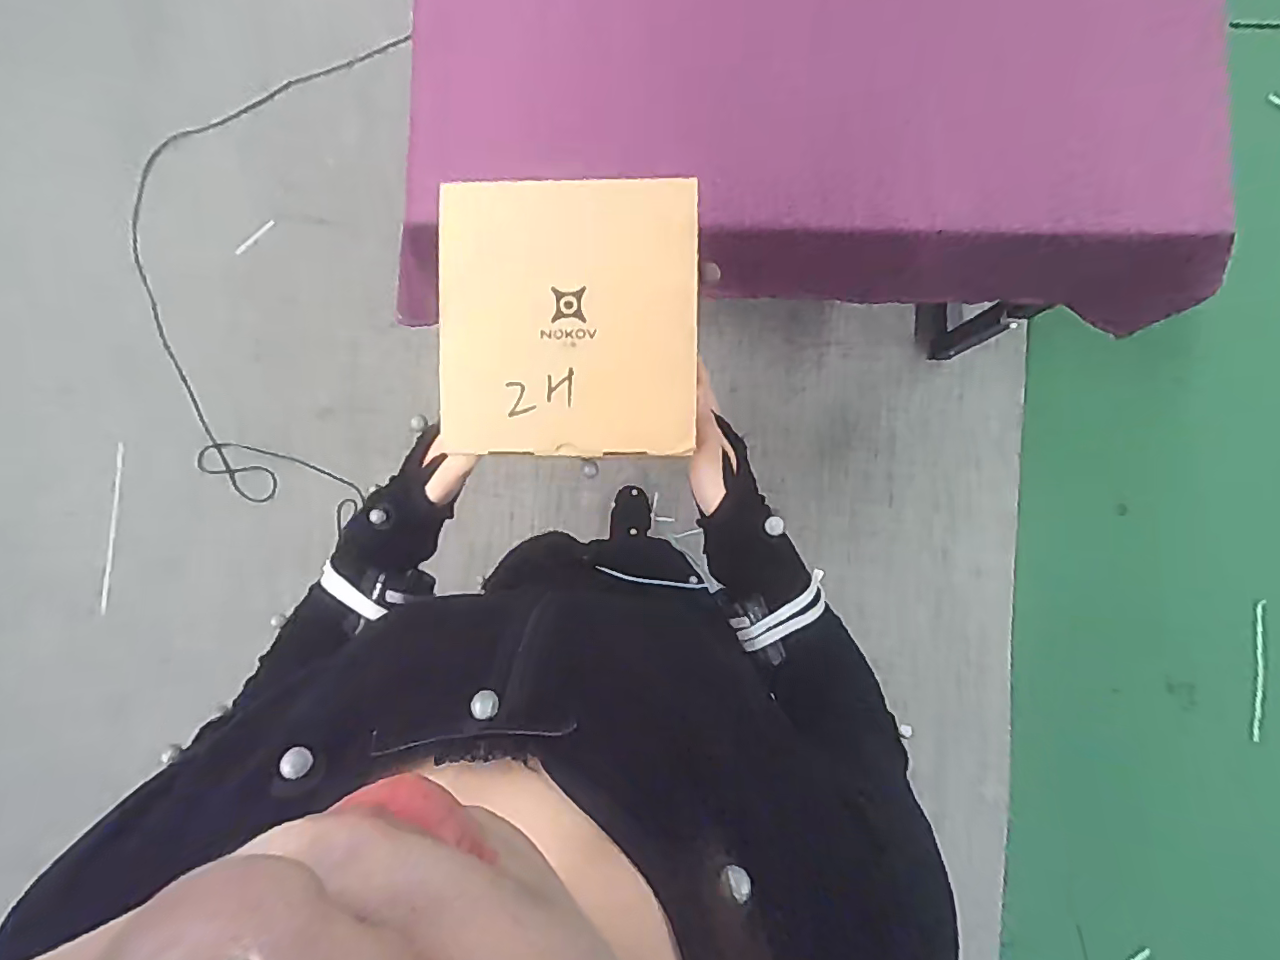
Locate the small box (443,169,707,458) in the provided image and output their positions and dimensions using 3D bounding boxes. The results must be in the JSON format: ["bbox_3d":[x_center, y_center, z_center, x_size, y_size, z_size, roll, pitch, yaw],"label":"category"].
[{"bbox_3d":[-0.039,-0.109,0.421,0.168,0.176,0.179,1,91,3],"label":"small box"}]
